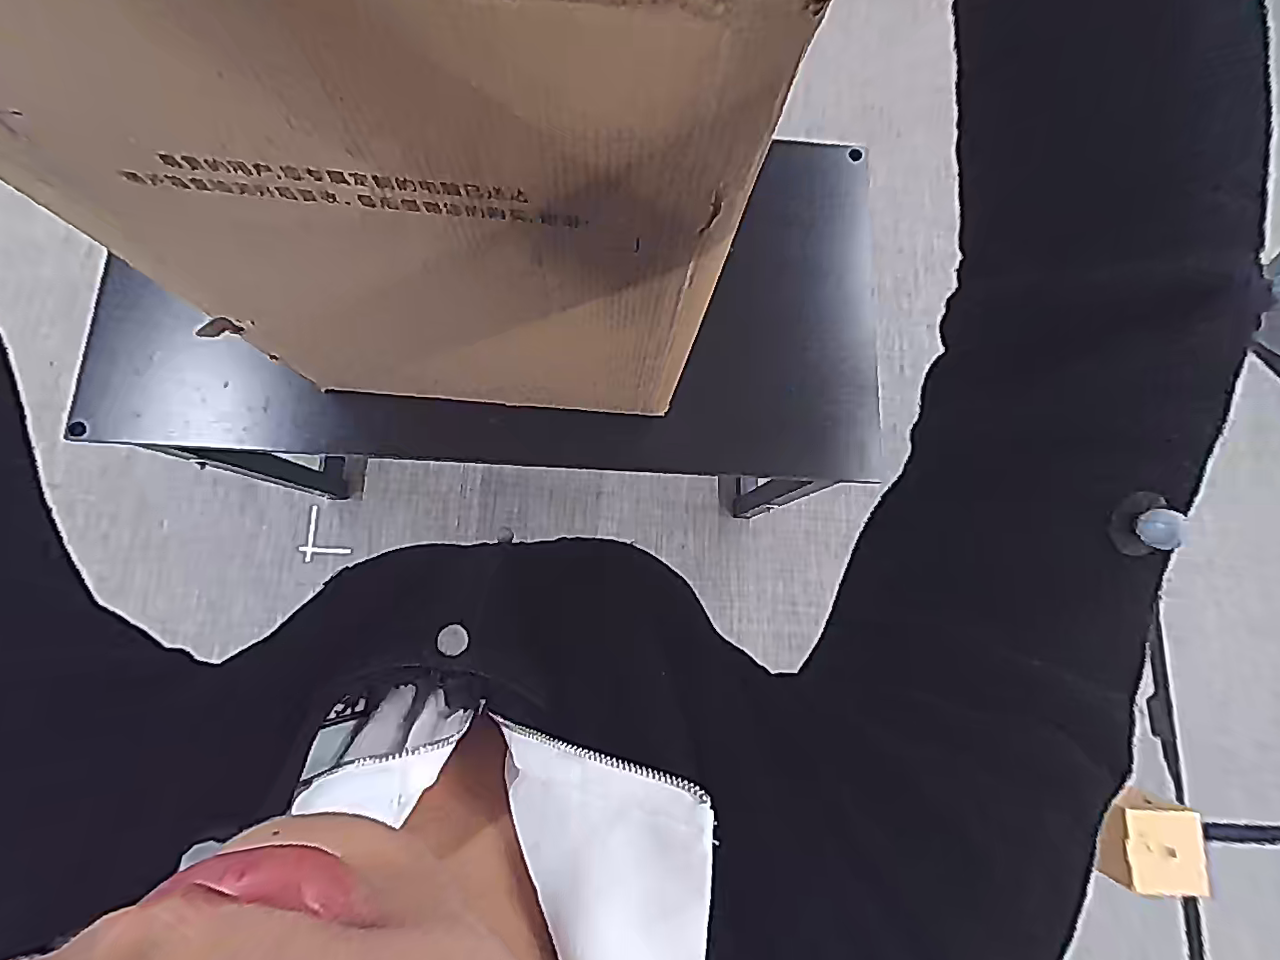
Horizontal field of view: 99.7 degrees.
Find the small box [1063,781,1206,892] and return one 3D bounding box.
[{"bbox_3d":[1.134,0.815,1.251,0.179,0.176,0.168,4,79,-3],"label":"small box"}]
